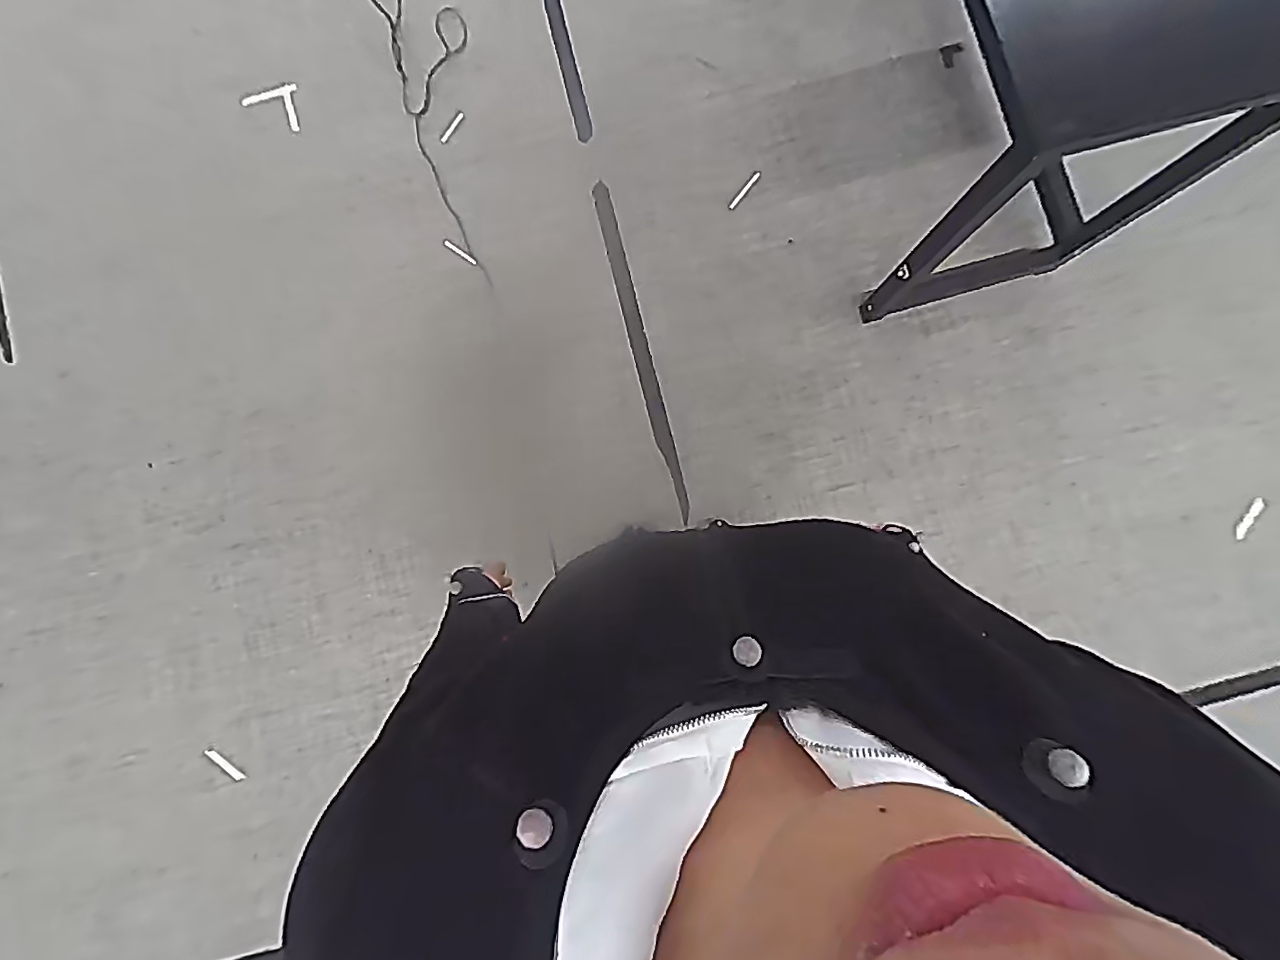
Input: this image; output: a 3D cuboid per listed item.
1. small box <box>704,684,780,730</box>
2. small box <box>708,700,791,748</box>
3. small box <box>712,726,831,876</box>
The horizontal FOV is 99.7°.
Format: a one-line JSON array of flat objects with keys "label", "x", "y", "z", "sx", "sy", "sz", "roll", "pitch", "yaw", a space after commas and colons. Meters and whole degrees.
[{"label": "small box", "x": 0.267, "y": 0.641, "z": 1.377, "sx": 0.179, "sy": 0.176, "sz": 0.168, "roll": -15, "pitch": 85, "yaw": 0}, {"label": "small box", "x": 0.258, "y": 0.625, "z": 1.214, "sx": 0.168, "sy": 0.176, "sz": 0.179, "roll": -17, "pitch": 85, "yaw": 1}, {"label": "small box", "x": 0.246, "y": 0.611, "z": 1.050, "sx": 0.168, "sy": 0.176, "sz": 0.179, "roll": -17, "pitch": 84, "yaw": 1}]
